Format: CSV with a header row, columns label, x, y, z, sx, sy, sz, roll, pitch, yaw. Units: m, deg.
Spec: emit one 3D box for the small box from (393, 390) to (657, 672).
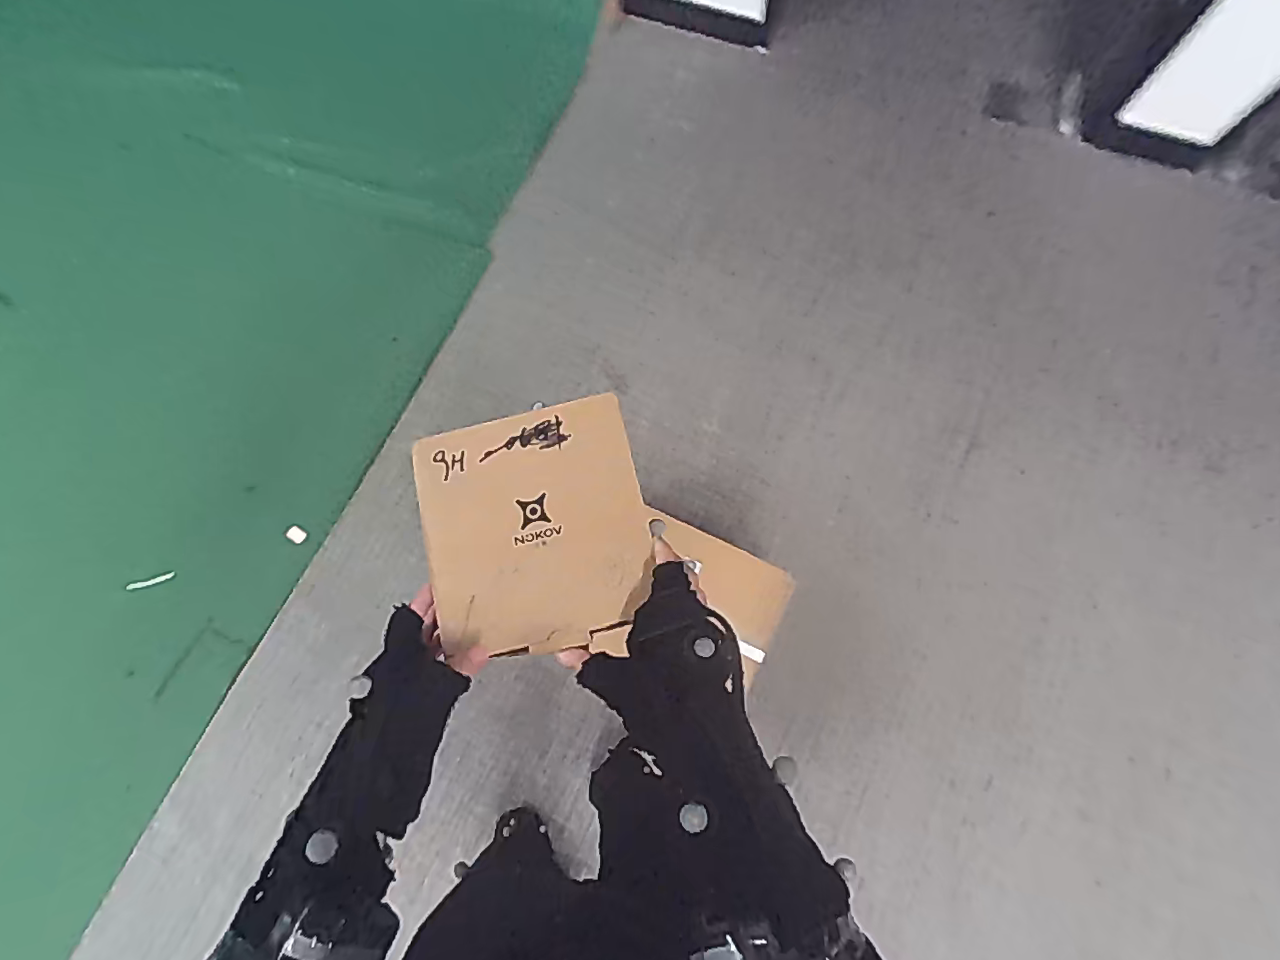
label,x,y,z,sx,sy,sz,roll,pitch,yaw
small box,-0.084,0.047,0.473,0.168,0.176,0.179,-16,79,0
